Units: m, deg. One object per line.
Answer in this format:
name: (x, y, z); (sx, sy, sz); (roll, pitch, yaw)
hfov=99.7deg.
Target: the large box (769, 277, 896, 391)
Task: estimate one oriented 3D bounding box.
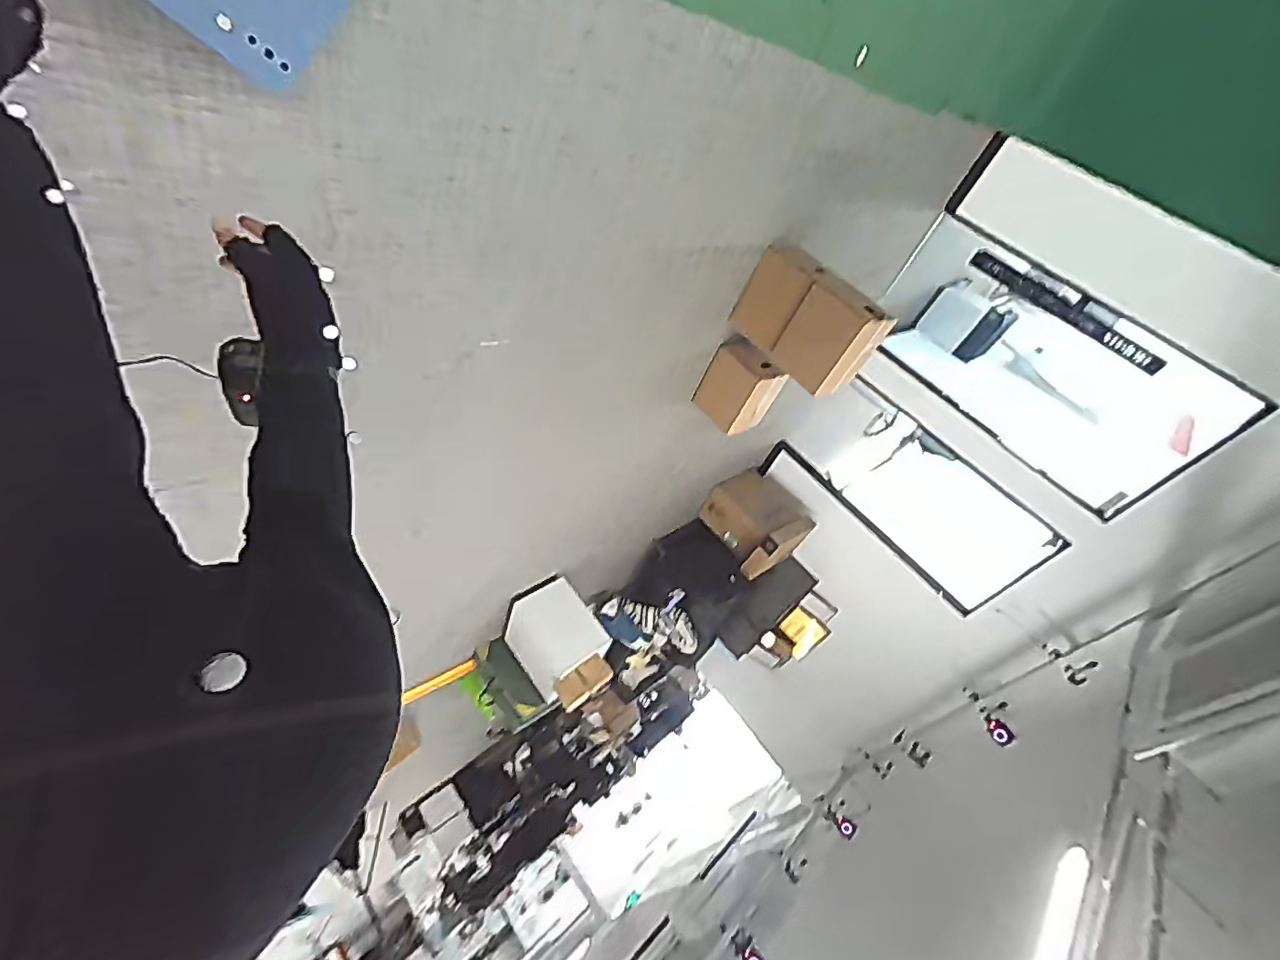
large box: (0.874, -0.672, 2.491); (0.320, 0.320, 0.408); (-18, 148, -40)
